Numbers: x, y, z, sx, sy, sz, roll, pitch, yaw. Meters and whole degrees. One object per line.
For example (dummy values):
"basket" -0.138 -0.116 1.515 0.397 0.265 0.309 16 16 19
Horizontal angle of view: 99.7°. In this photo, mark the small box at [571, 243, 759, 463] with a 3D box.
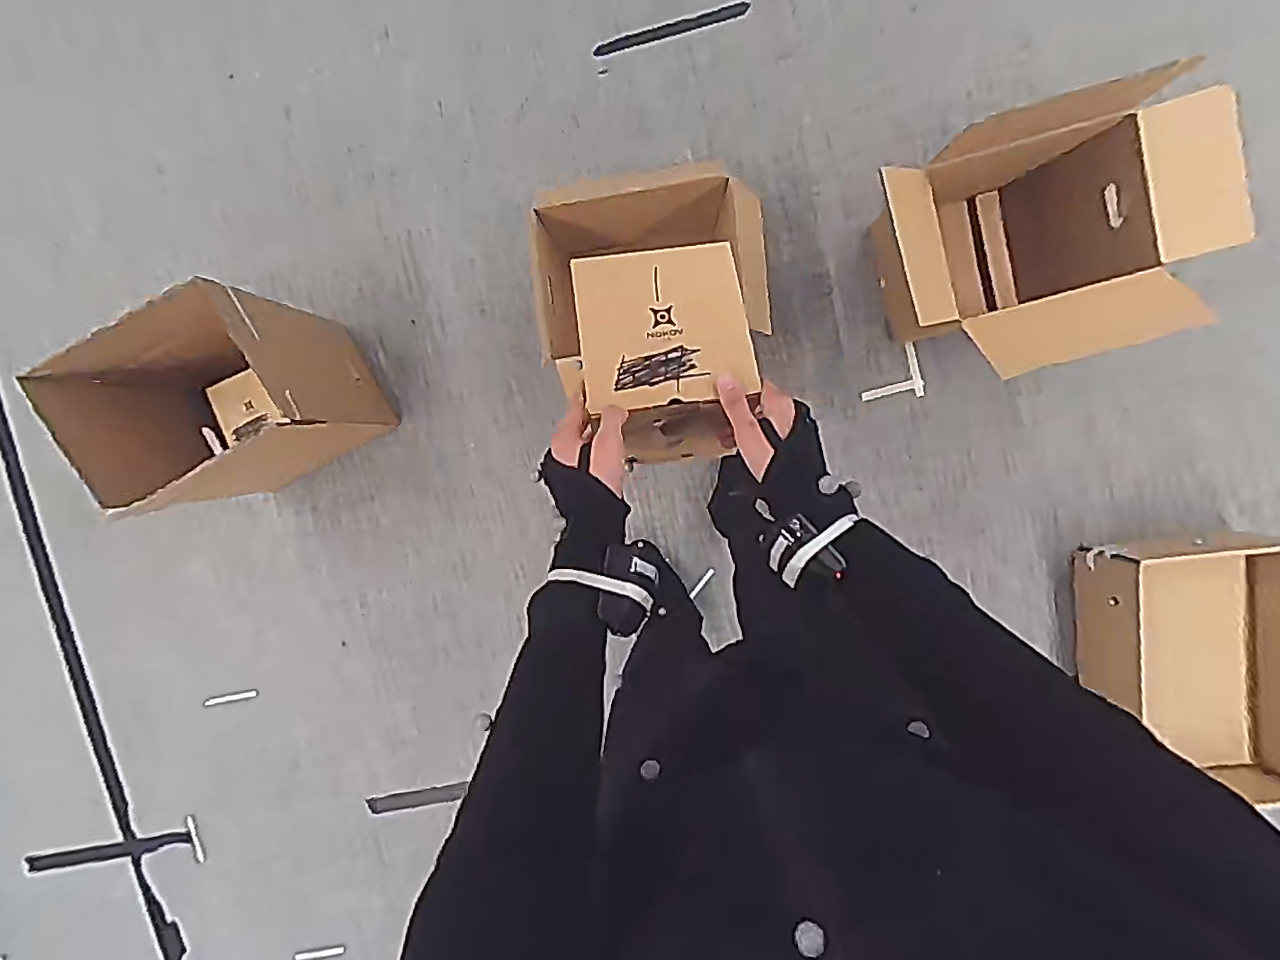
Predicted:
"small box" 0.022 -0.126 0.601 0.168 0.176 0.179 -8 72 -2
